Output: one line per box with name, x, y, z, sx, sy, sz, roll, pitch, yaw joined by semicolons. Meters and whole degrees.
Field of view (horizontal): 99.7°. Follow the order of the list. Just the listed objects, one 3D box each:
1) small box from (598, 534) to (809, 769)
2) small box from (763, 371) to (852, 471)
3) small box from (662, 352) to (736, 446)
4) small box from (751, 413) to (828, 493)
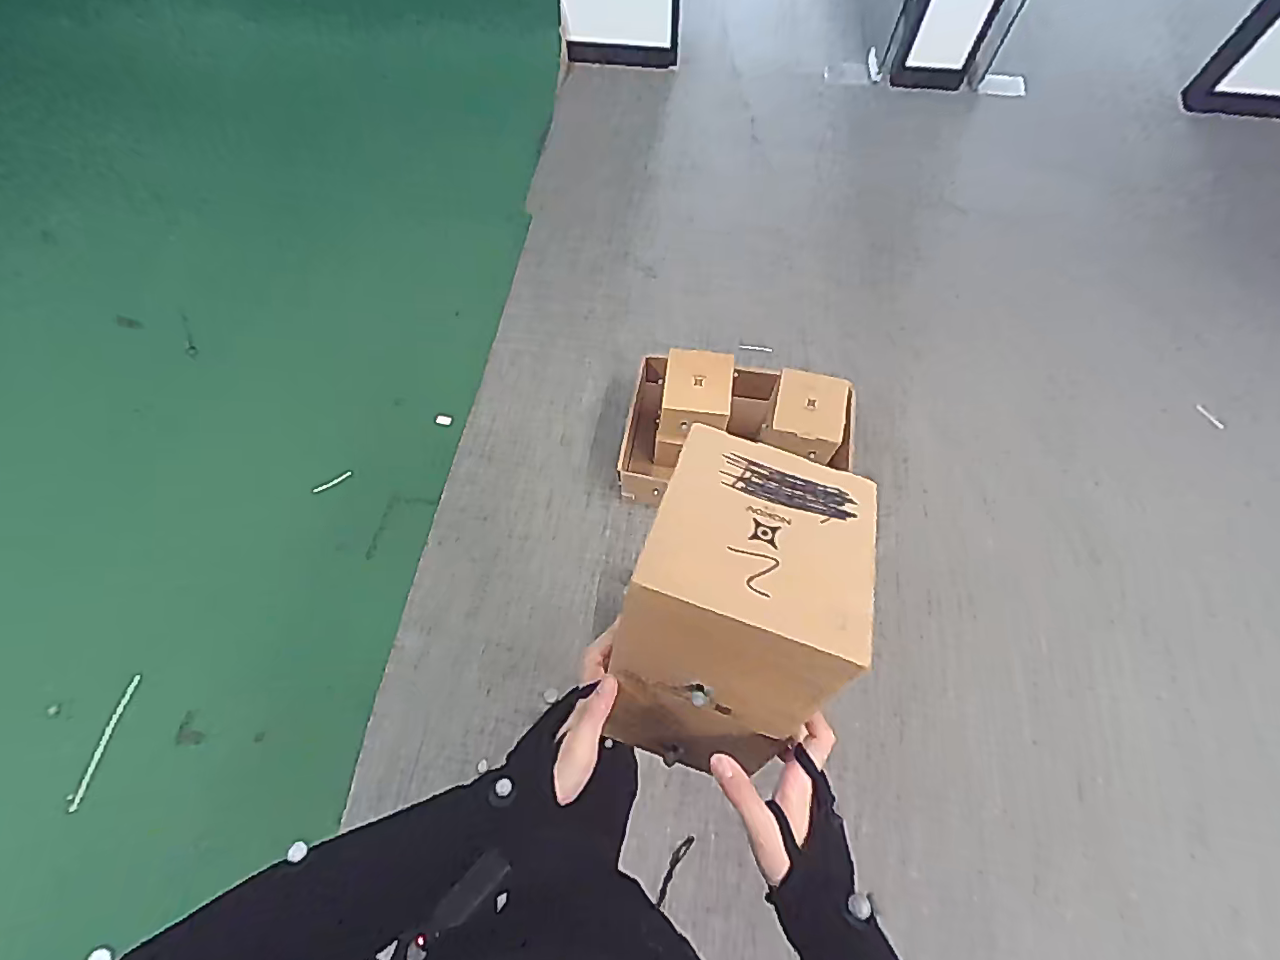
small box;0.065;0.194;0.596;0.179;0.176;0.168;18;47;5
small box;0.413;-0.141;1.357;0.168;0.176;0.179;13;68;6
small box;0.148;-0.202;1.390;0.168;0.176;0.179;6;67;3
small box;0.421;-0.076;1.506;0.179;0.176;0.168;13;68;8
